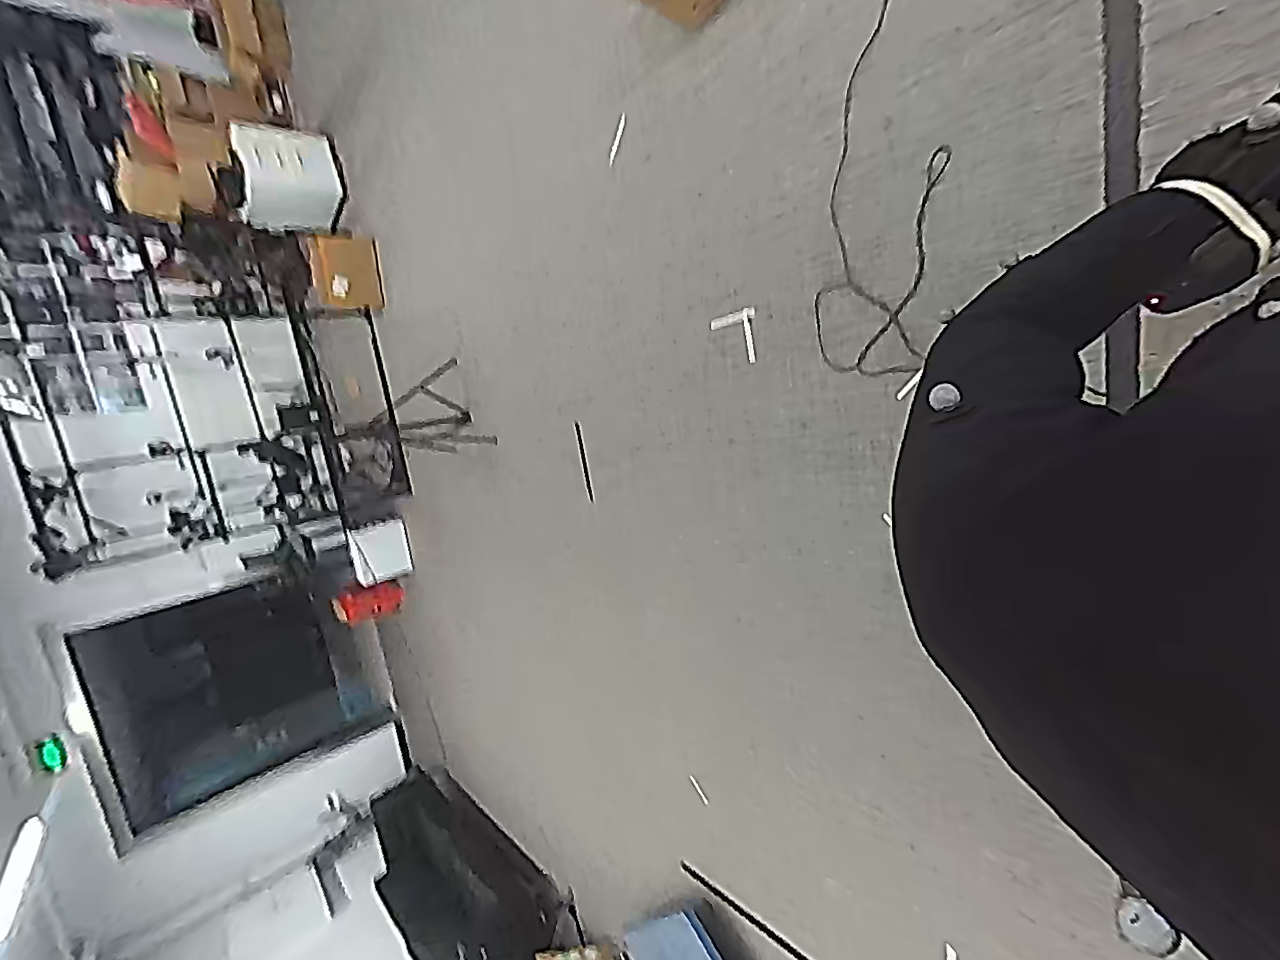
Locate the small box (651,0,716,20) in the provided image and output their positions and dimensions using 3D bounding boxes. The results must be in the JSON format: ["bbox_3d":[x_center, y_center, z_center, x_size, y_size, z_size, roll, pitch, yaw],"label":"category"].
[{"bbox_3d":[0.125,-1.378,1.425,0.168,0.176,0.179,-9,97,51],"label":"small box"}]
